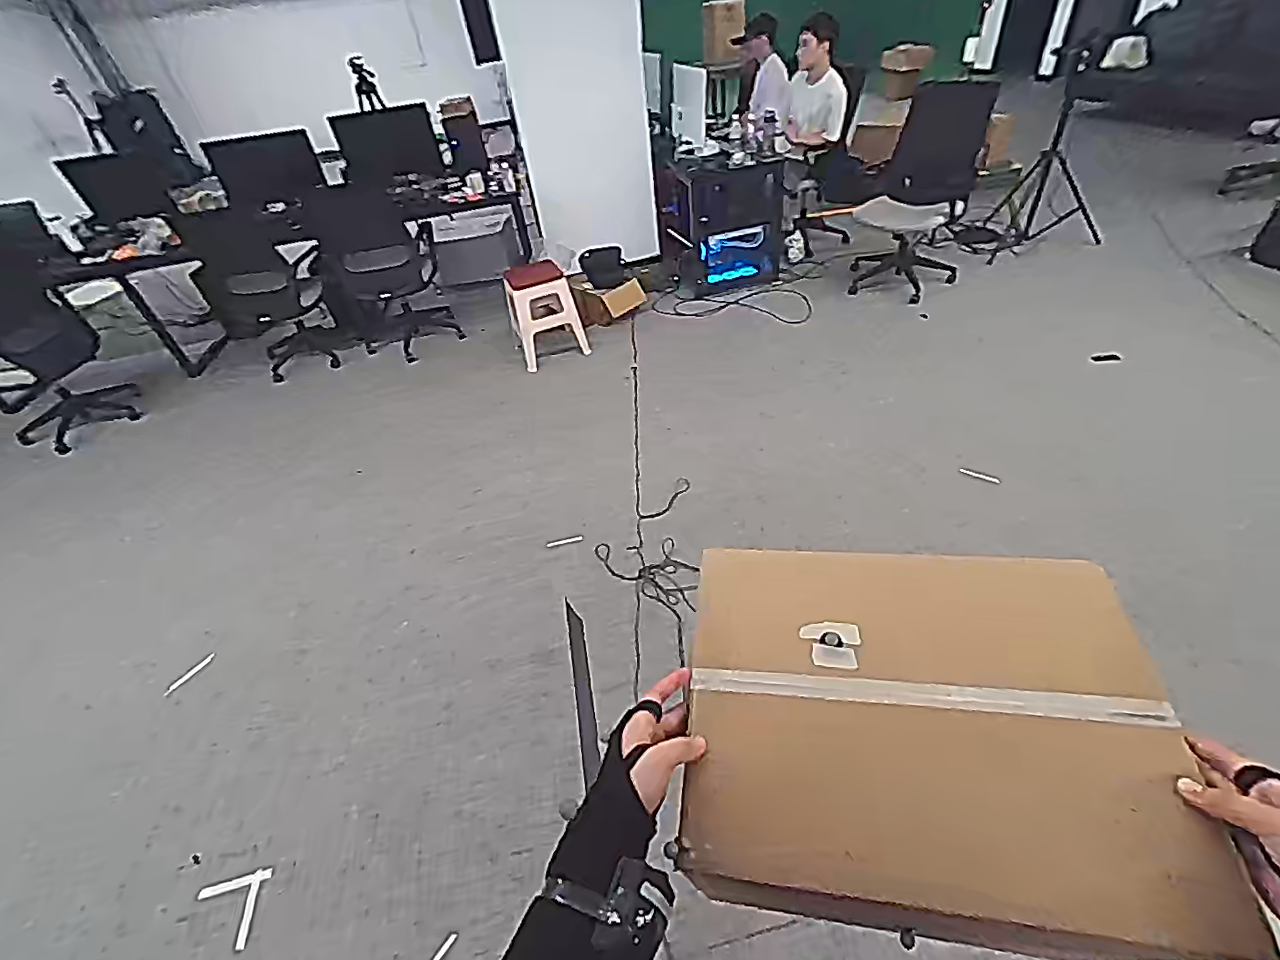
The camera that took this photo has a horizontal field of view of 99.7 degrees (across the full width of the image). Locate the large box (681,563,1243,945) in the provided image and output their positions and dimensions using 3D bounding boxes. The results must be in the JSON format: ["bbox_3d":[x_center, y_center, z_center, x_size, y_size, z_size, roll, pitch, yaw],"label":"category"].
[{"bbox_3d":[0.272,0.307,0.619,0.408,0.320,0.320,-1,47,12],"label":"large box"}]
